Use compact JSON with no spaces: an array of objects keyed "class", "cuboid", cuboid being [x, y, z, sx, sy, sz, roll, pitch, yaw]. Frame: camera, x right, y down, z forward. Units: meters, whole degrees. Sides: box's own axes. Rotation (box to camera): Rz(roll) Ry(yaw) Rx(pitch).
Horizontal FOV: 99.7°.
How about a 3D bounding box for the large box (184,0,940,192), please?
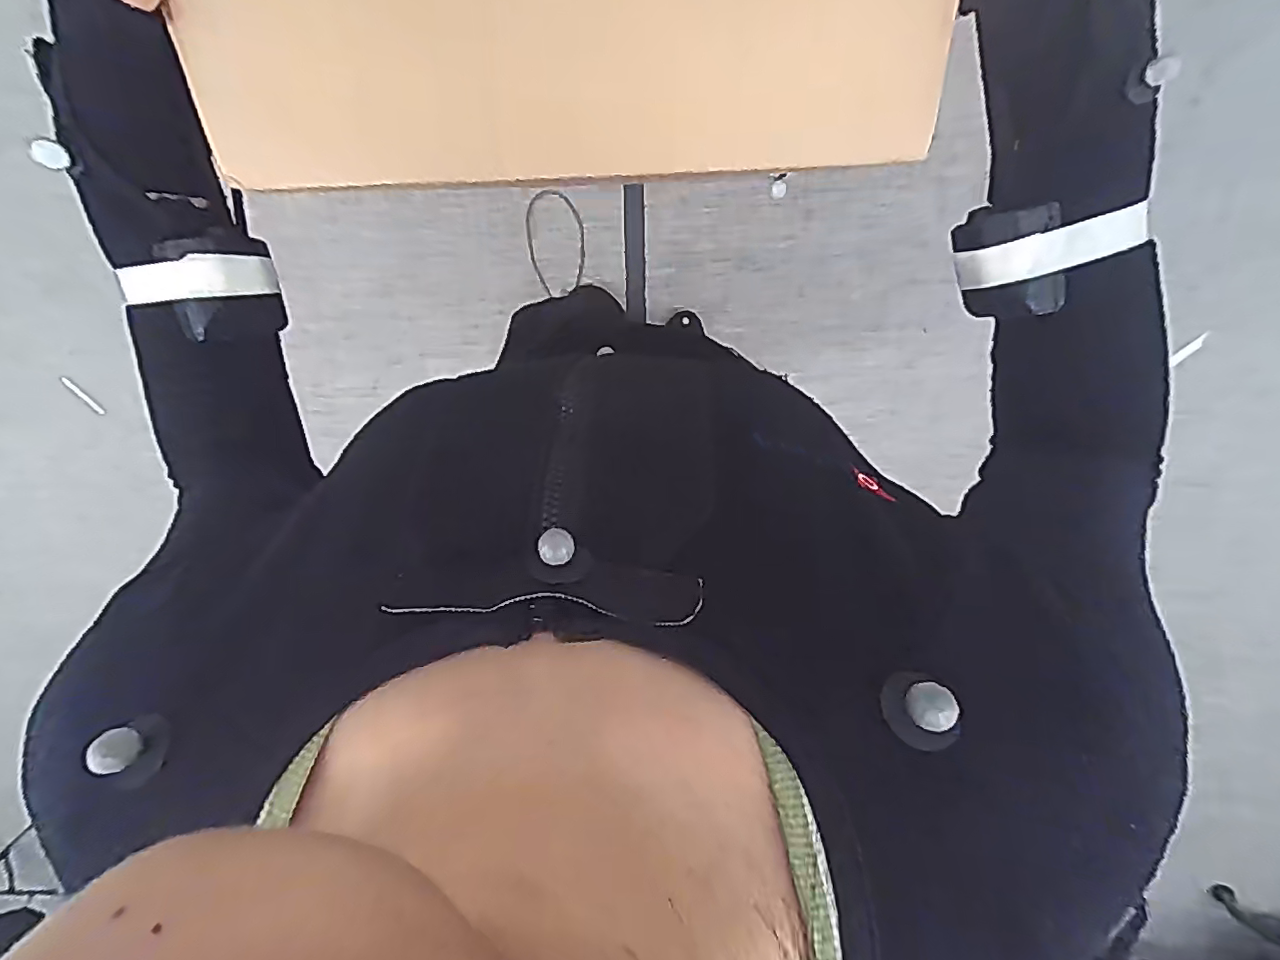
[{"class":"large box","cuboid":[-0.042,-0.390,0.377,0.408,0.320,0.320,-2,118,1]}]
